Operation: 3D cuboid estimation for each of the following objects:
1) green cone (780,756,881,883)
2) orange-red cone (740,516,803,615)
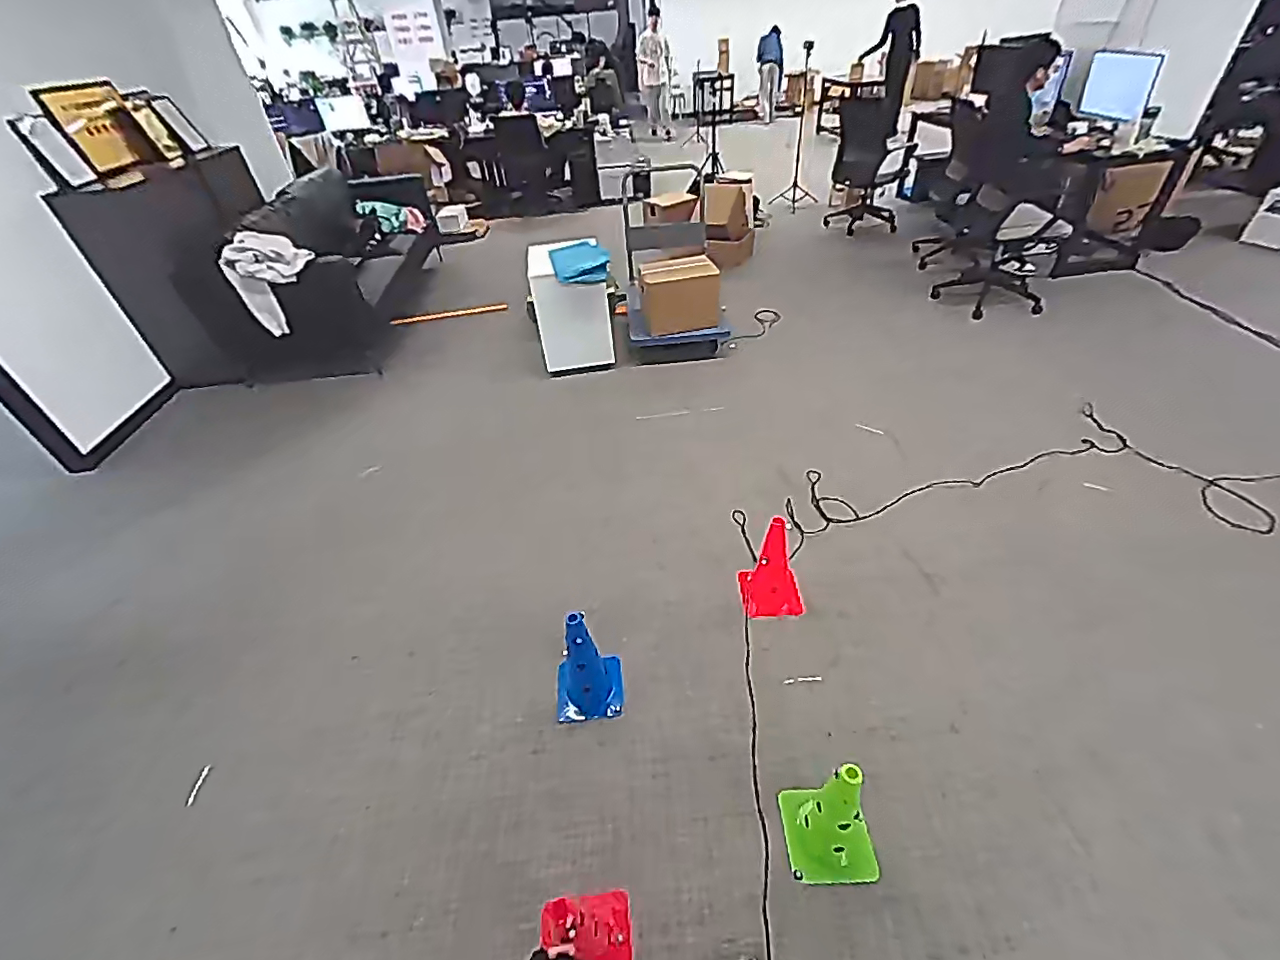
[{"bbox_3d":[0.447,0.722,1.204,0.200,0.368,0.202,-4,39,1],"label":"green cone"},{"bbox_3d":[0.437,0.256,1.768,0.198,0.360,0.199,-4,41,4],"label":"orange-red cone"}]
